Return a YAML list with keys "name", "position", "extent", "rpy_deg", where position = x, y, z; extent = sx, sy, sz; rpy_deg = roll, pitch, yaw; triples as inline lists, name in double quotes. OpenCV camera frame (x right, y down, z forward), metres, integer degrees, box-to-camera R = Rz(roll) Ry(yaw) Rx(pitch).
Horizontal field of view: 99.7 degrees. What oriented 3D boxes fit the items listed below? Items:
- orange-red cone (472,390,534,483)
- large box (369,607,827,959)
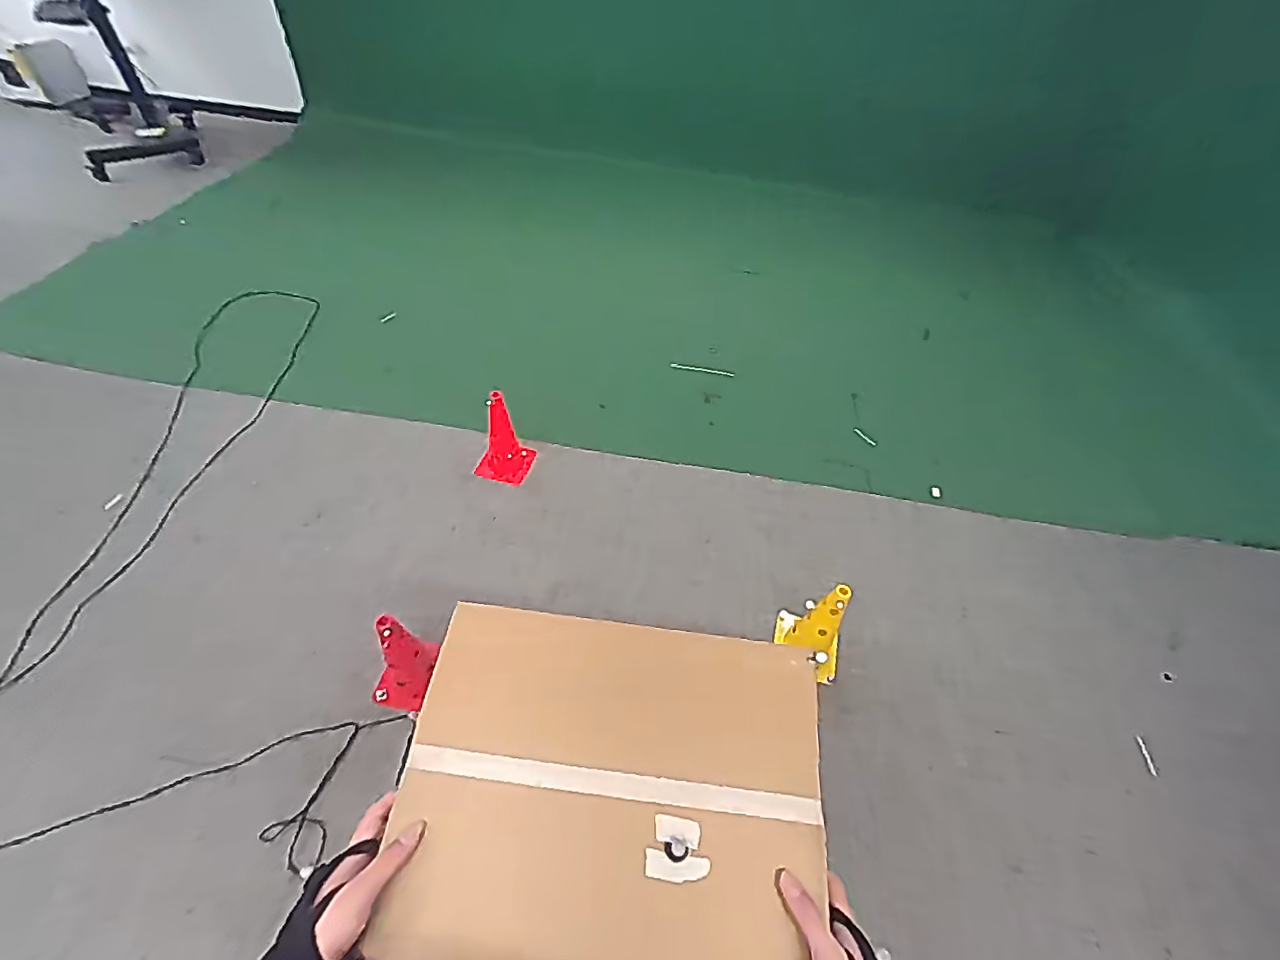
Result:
- name: "orange-red cone"
  position: [-0.534, -0.186, 2.027]
  extent: [0.199, 0.360, 0.198]
  rpy_deg: [14, 49, 8]
- name: "large box"
  position: [-0.030, 0.372, 0.661]
  extent: [0.408, 0.320, 0.320]
  rpy_deg: [7, 59, 1]
